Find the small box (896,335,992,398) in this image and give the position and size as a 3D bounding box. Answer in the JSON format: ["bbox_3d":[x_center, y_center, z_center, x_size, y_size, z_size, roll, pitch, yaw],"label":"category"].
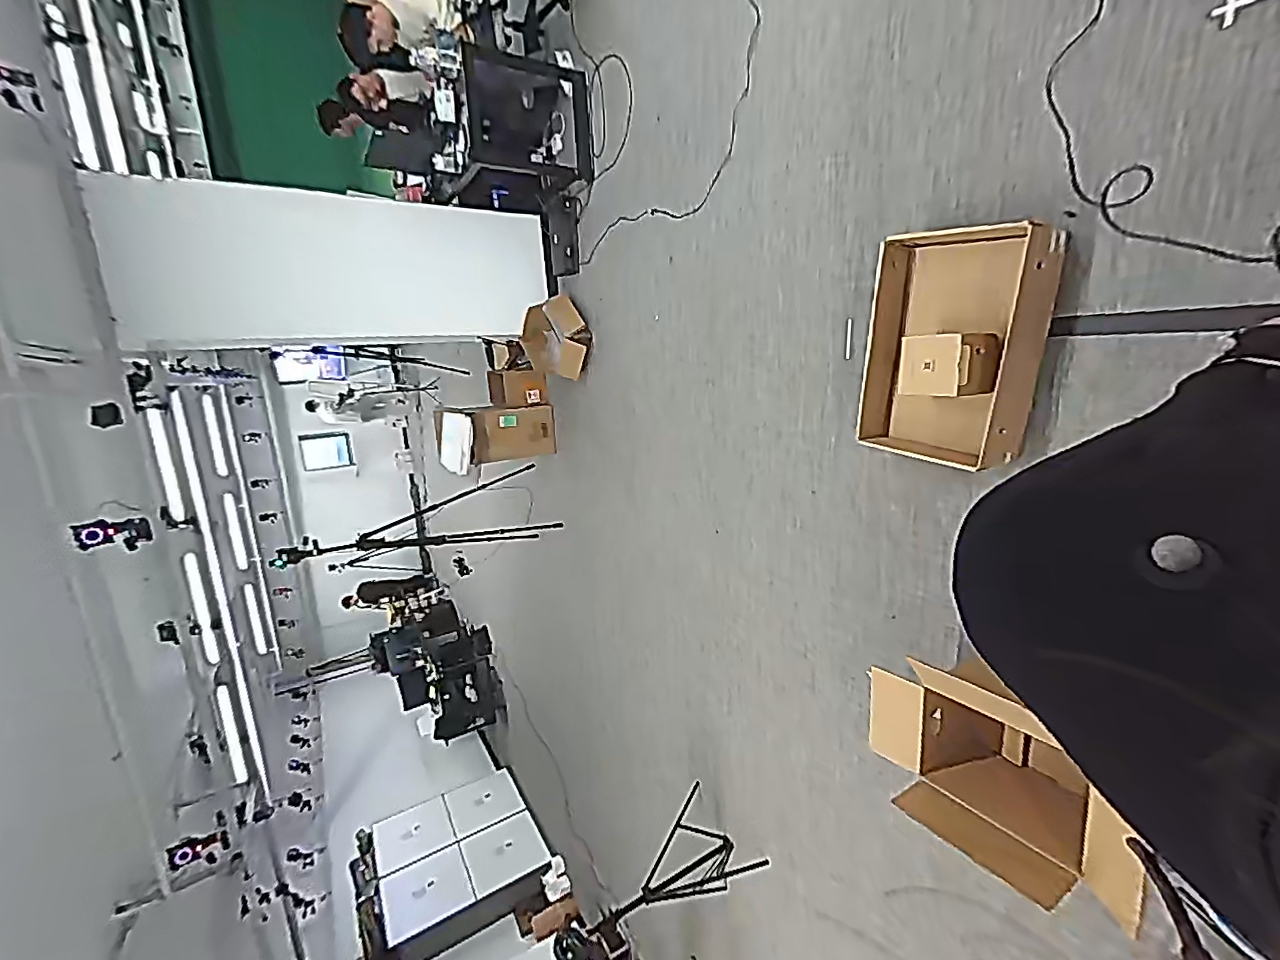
[{"bbox_3d":[0.855,-0.322,1.520,0.179,0.176,0.168,19,113,57],"label":"small box"}]
